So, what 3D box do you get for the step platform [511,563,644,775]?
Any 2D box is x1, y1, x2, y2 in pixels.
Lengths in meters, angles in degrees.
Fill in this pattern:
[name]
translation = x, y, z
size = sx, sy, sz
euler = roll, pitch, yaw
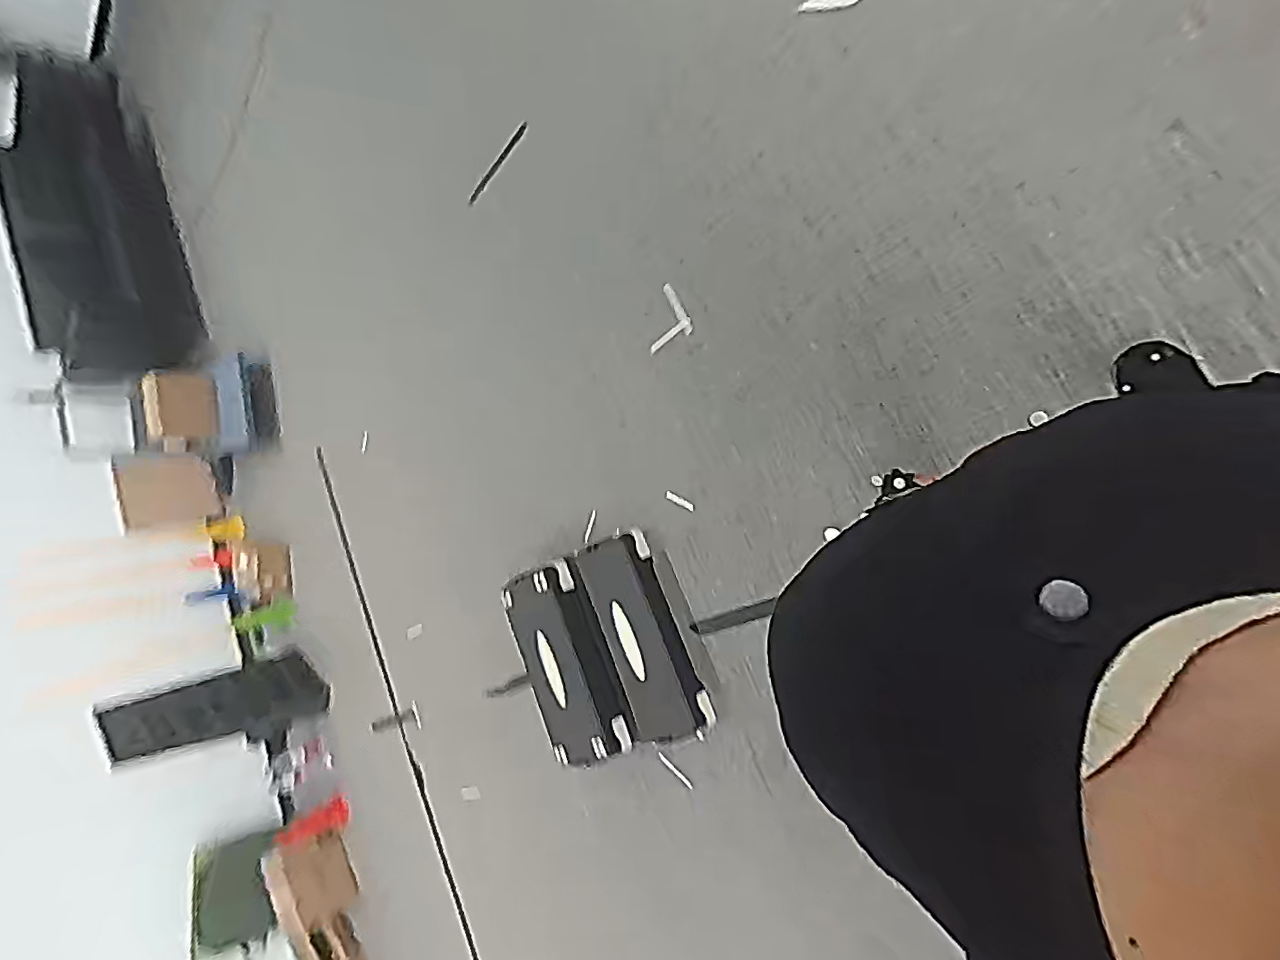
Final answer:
[step platform]
translation = -0.230, 0.649, 1.884
size = 0.286, 0.204, 0.684
euler = -23, 78, 36
